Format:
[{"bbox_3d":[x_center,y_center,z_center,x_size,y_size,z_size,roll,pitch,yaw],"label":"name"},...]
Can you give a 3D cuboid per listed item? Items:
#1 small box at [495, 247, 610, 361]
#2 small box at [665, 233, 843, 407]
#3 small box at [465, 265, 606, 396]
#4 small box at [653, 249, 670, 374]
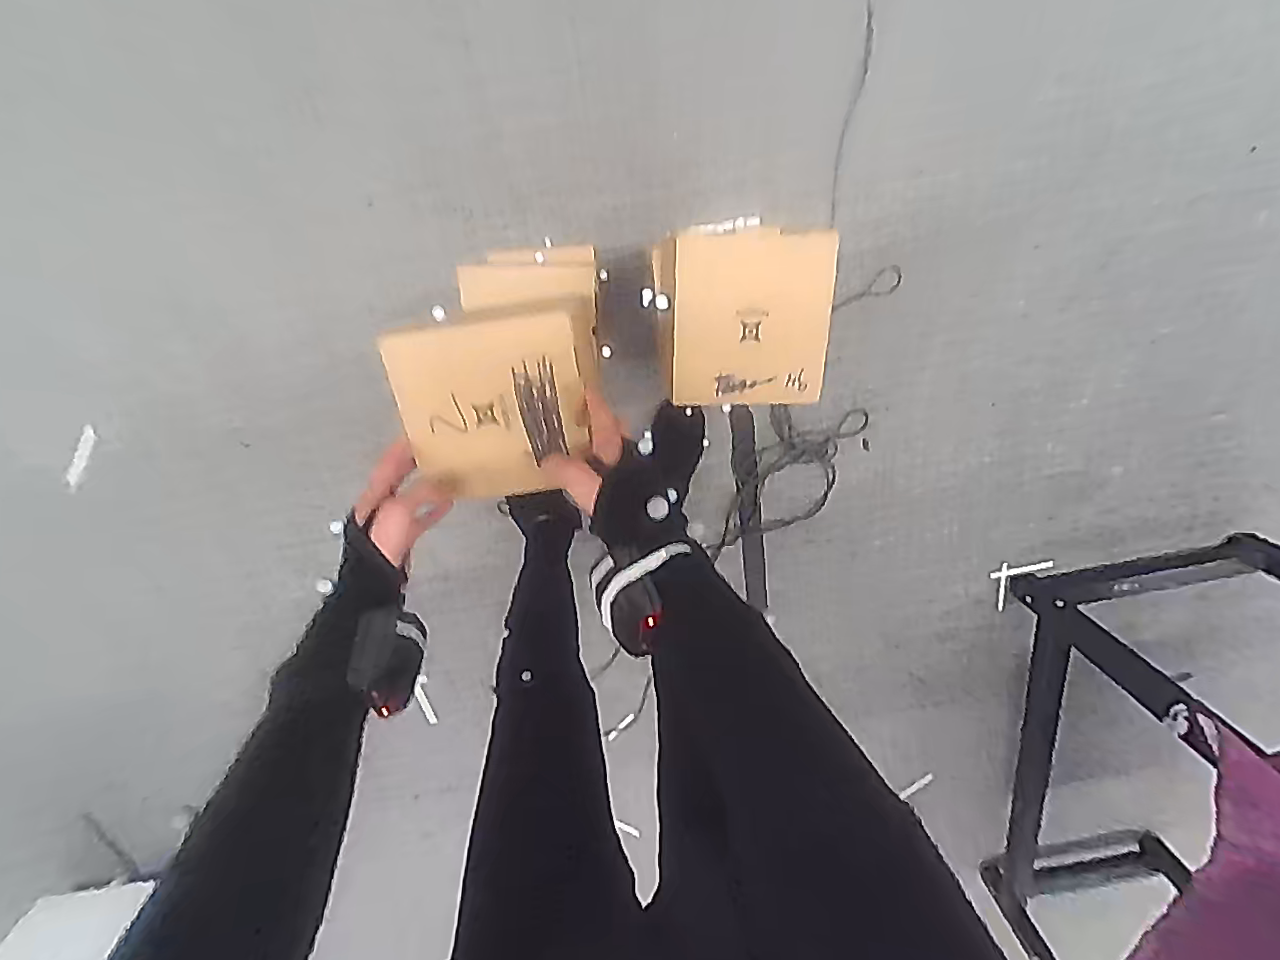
[{"bbox_3d":[-0.141,-0.300,0.931,0.168,0.176,0.179,-4,113,0],"label":"small box"},{"bbox_3d":[0.118,-0.190,0.639,0.168,0.176,0.179,-1,112,-2],"label":"small box"},{"bbox_3d":[-0.138,-0.222,0.786,0.179,0.176,0.168,-1,113,-2],"label":"small box"},{"bbox_3d":[0.112,-0.256,0.789,0.179,0.176,0.168,-7,113,0],"label":"small box"}]
